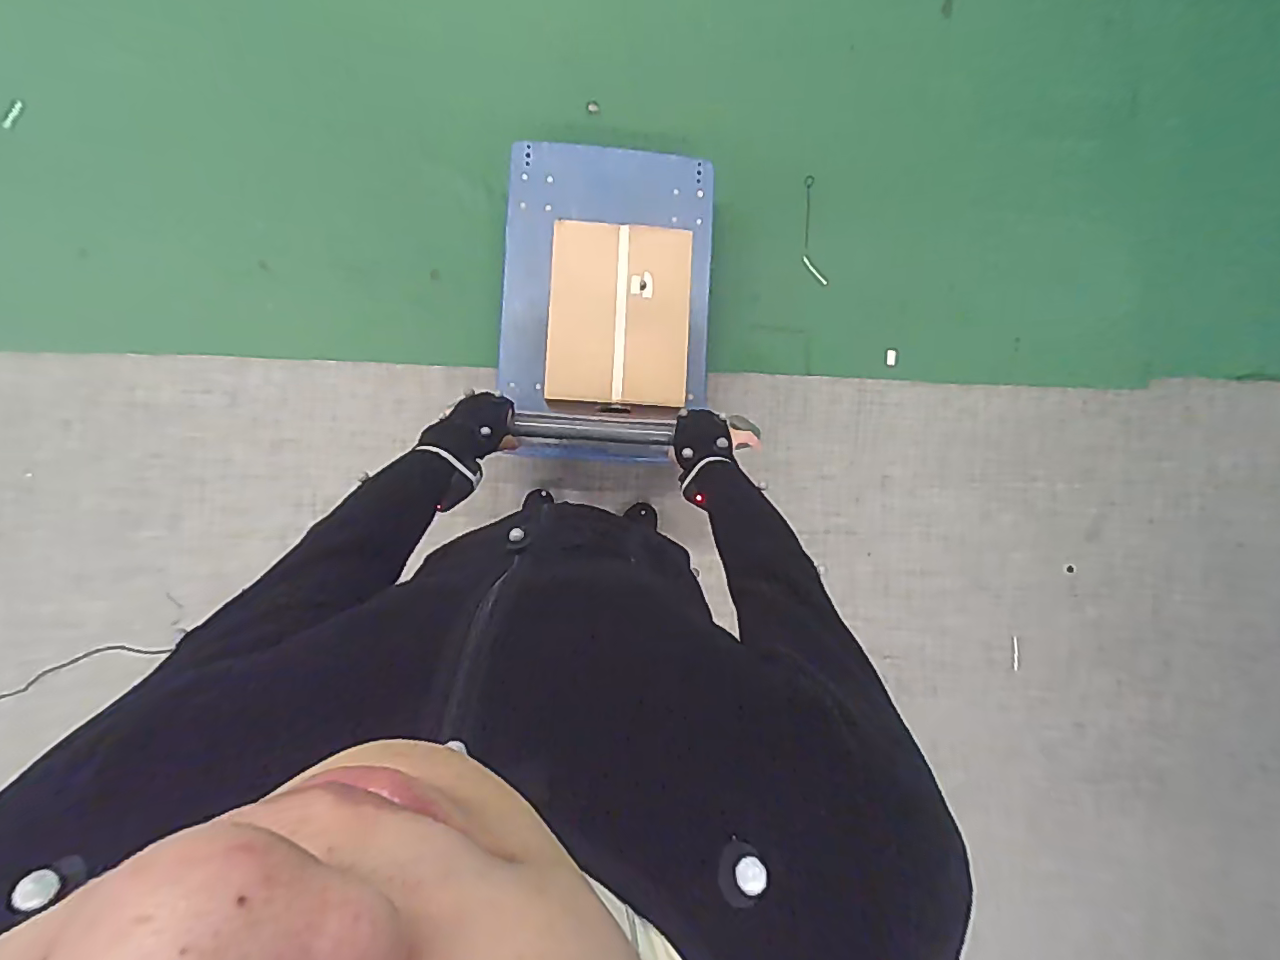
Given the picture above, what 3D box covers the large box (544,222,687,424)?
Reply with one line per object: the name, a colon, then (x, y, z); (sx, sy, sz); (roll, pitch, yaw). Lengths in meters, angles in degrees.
large box: (-0.063, -0.361, 1.345); (0.320, 0.320, 0.408); (3, 87, -6)
